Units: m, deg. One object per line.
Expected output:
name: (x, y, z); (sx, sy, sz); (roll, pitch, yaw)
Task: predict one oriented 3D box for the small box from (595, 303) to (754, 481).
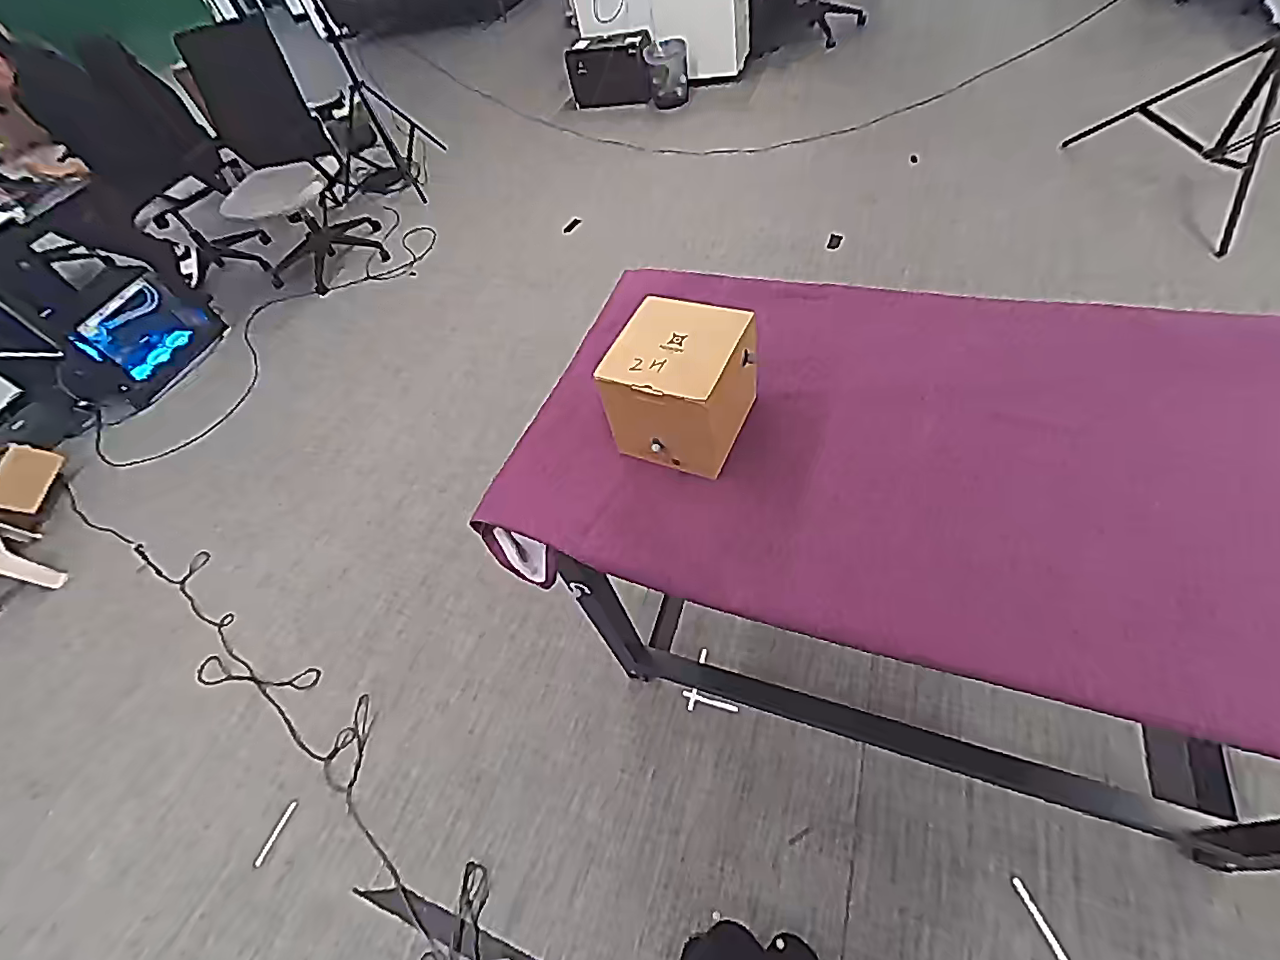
small box: (0.059, -0.129, 0.795); (0.168, 0.176, 0.179); (17, 60, 23)
